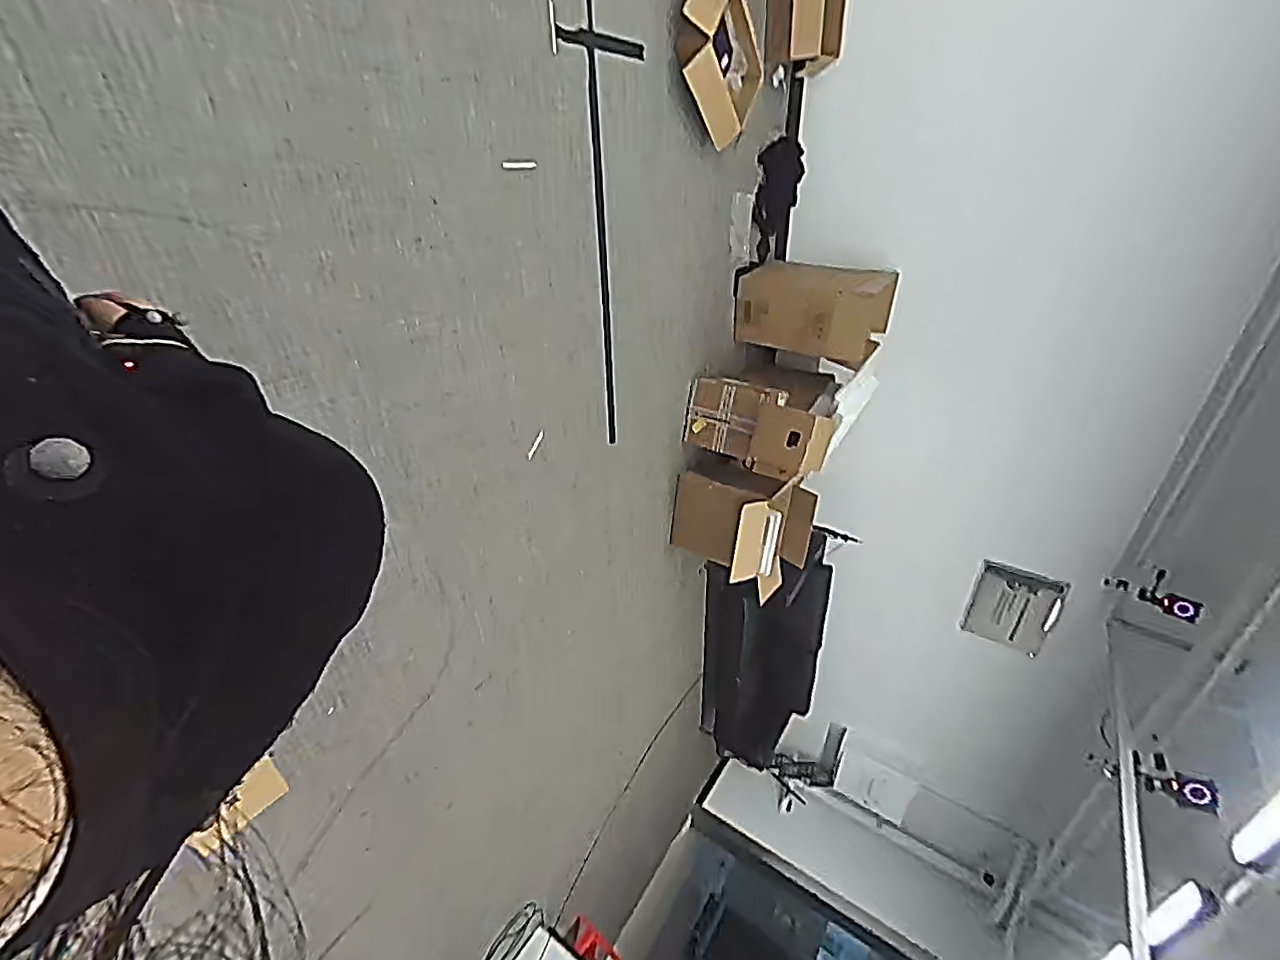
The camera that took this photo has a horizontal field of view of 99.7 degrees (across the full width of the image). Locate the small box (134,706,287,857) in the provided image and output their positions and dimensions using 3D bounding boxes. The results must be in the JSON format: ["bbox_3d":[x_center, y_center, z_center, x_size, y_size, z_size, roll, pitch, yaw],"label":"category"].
[{"bbox_3d":[-0.866,0.601,1.097,0.168,0.176,0.179,-37,135,-45],"label":"small box"}]
